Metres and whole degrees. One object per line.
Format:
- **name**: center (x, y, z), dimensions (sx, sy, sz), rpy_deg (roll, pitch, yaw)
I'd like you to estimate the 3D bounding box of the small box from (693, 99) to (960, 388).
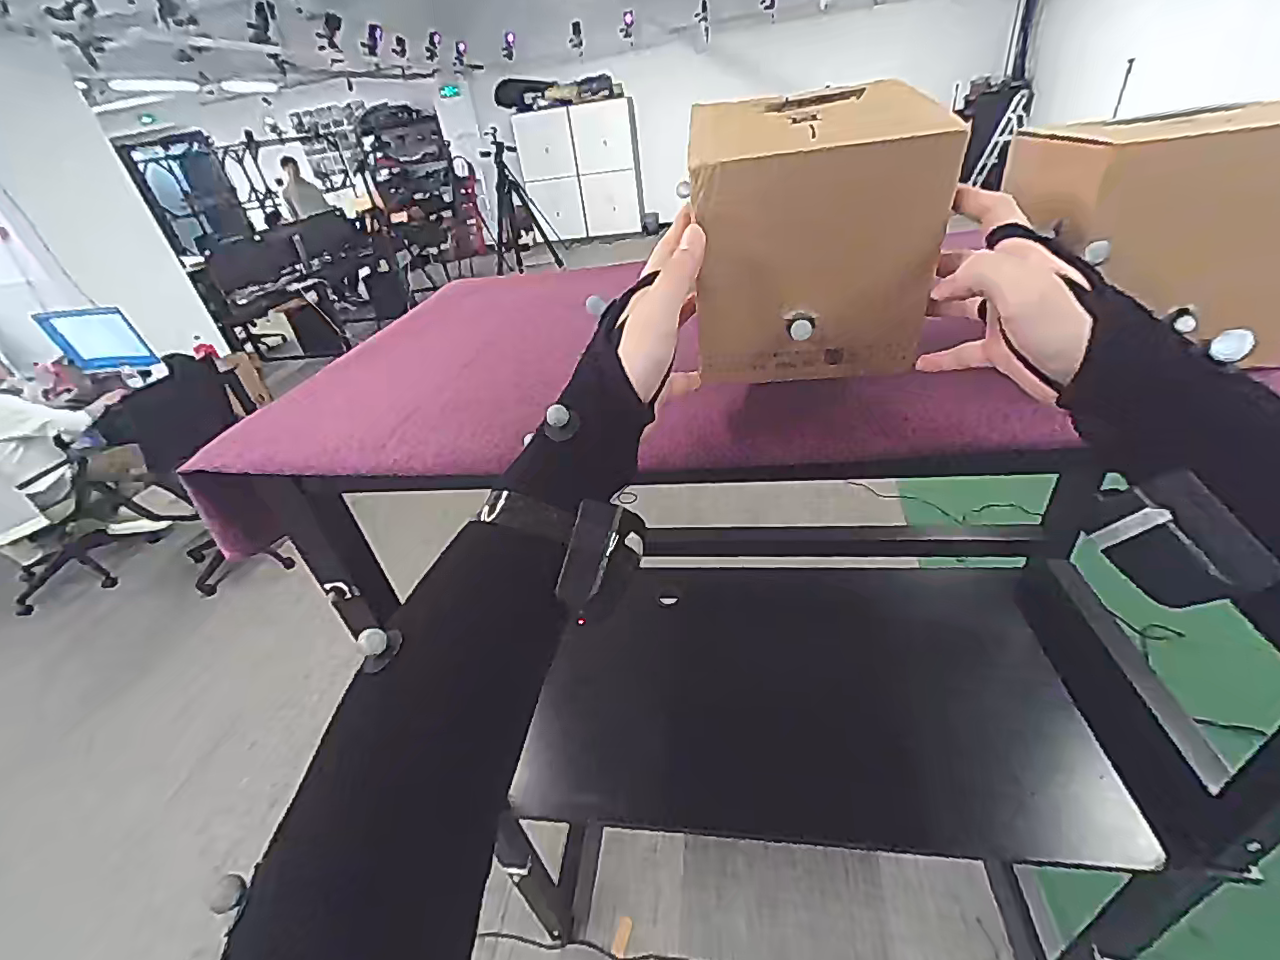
- **small box**: center (0.132, -0.195, 0.453), dimensions (0.168, 0.176, 0.179), rpy_deg (-2, 44, 9)
